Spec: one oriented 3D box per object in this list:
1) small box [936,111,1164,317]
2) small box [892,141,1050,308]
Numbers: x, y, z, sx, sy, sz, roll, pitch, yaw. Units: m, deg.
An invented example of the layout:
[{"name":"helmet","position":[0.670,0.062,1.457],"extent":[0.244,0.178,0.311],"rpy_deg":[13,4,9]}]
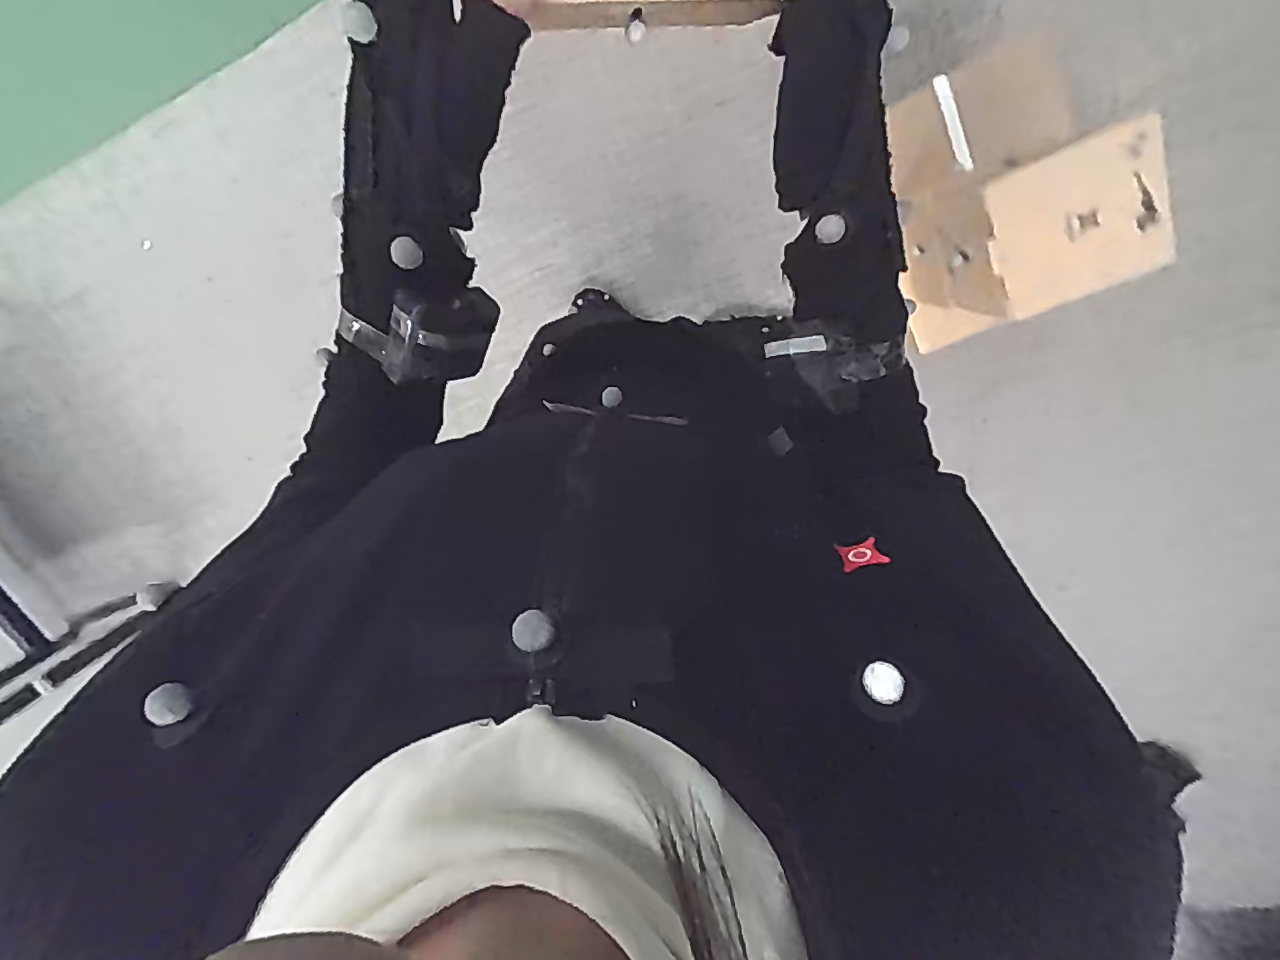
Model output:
[{"name":"small box","position":[0.503,-0.326,0.692],"extent":[0.179,0.176,0.168],"rpy_deg":[-19,109,16]},{"name":"small box","position":[0.515,-0.389,0.843],"extent":[0.168,0.176,0.179],"rpy_deg":[-18,108,14]}]
